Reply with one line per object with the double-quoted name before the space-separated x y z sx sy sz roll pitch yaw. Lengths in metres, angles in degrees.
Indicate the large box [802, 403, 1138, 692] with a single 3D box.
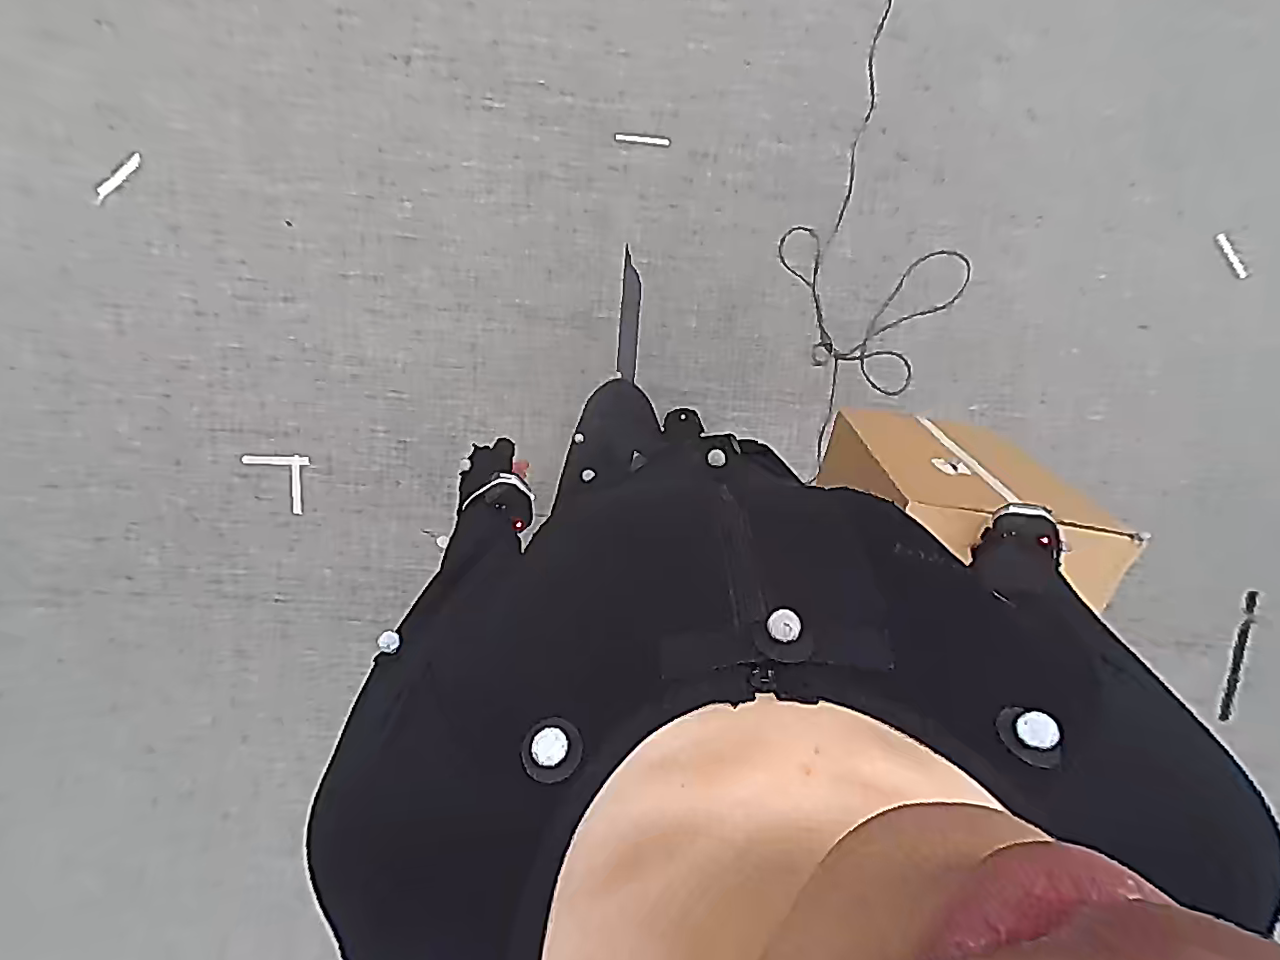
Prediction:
"large box" 0.511 0.094 0.965 0.320 0.408 0.320 9 118 2
